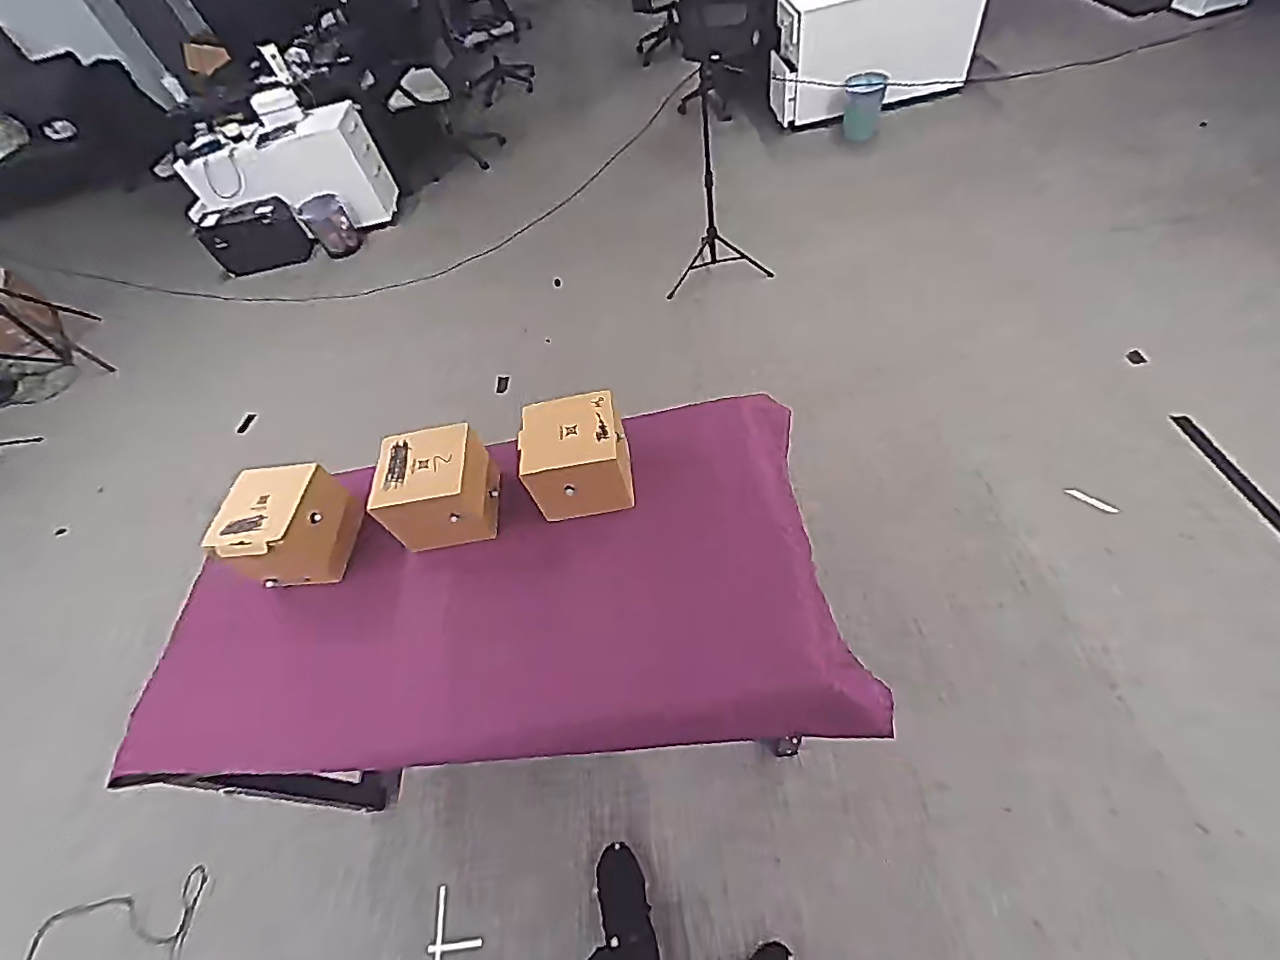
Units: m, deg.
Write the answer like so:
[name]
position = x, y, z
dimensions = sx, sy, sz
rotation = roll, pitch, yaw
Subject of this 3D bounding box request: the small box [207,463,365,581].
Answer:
[small box]
position = -0.675, 0.090, 1.059
dimensions = 0.168, 0.176, 0.179
rotation = -5, 54, 8
